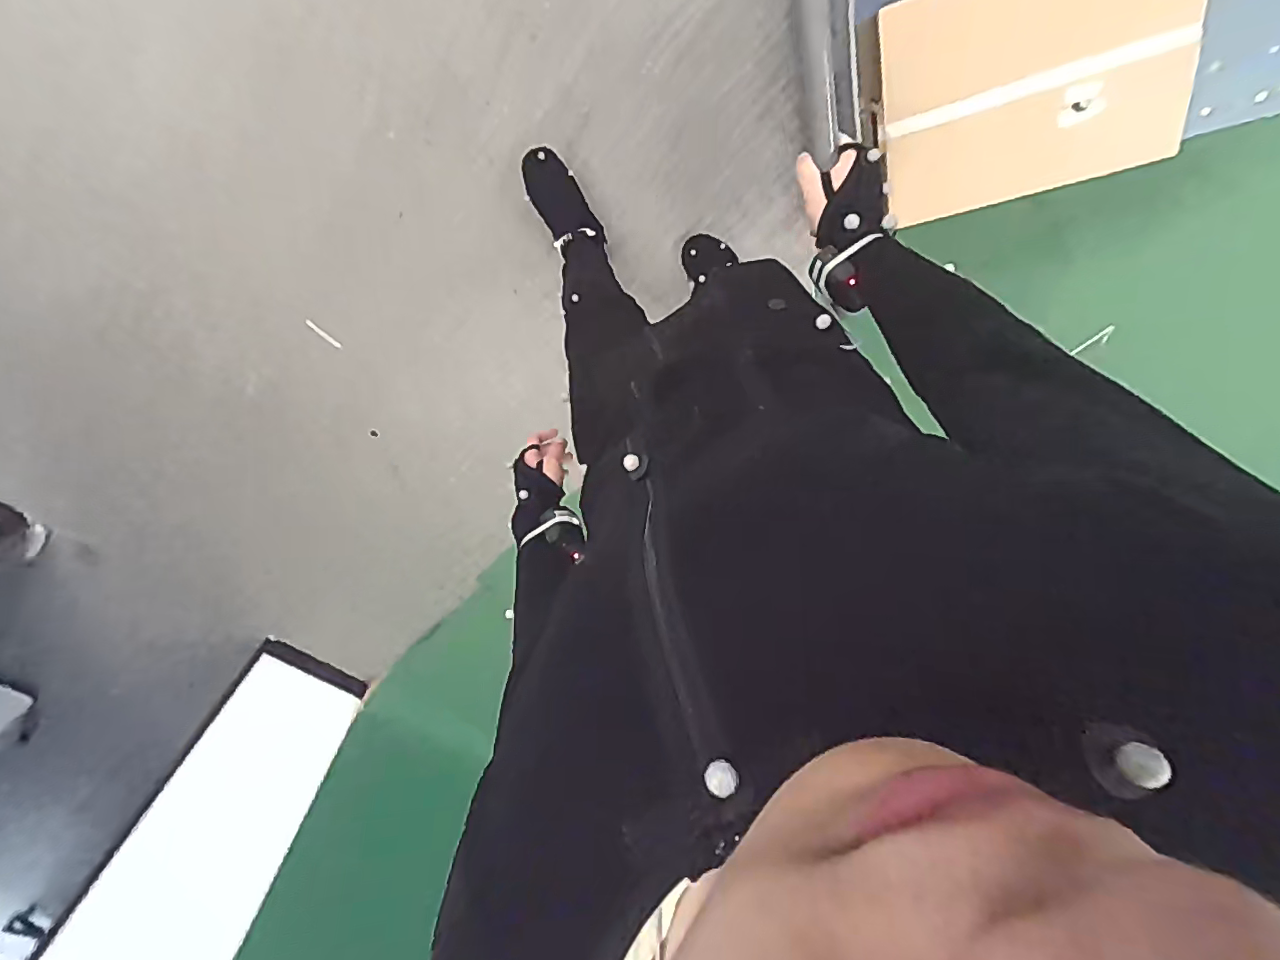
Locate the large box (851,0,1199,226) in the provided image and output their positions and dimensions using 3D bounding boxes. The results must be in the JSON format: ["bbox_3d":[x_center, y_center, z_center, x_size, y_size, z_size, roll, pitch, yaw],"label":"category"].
[{"bbox_3d":[0.609,-0.682,0.934,0.408,0.320,0.320,-8,124,18],"label":"large box"}]
